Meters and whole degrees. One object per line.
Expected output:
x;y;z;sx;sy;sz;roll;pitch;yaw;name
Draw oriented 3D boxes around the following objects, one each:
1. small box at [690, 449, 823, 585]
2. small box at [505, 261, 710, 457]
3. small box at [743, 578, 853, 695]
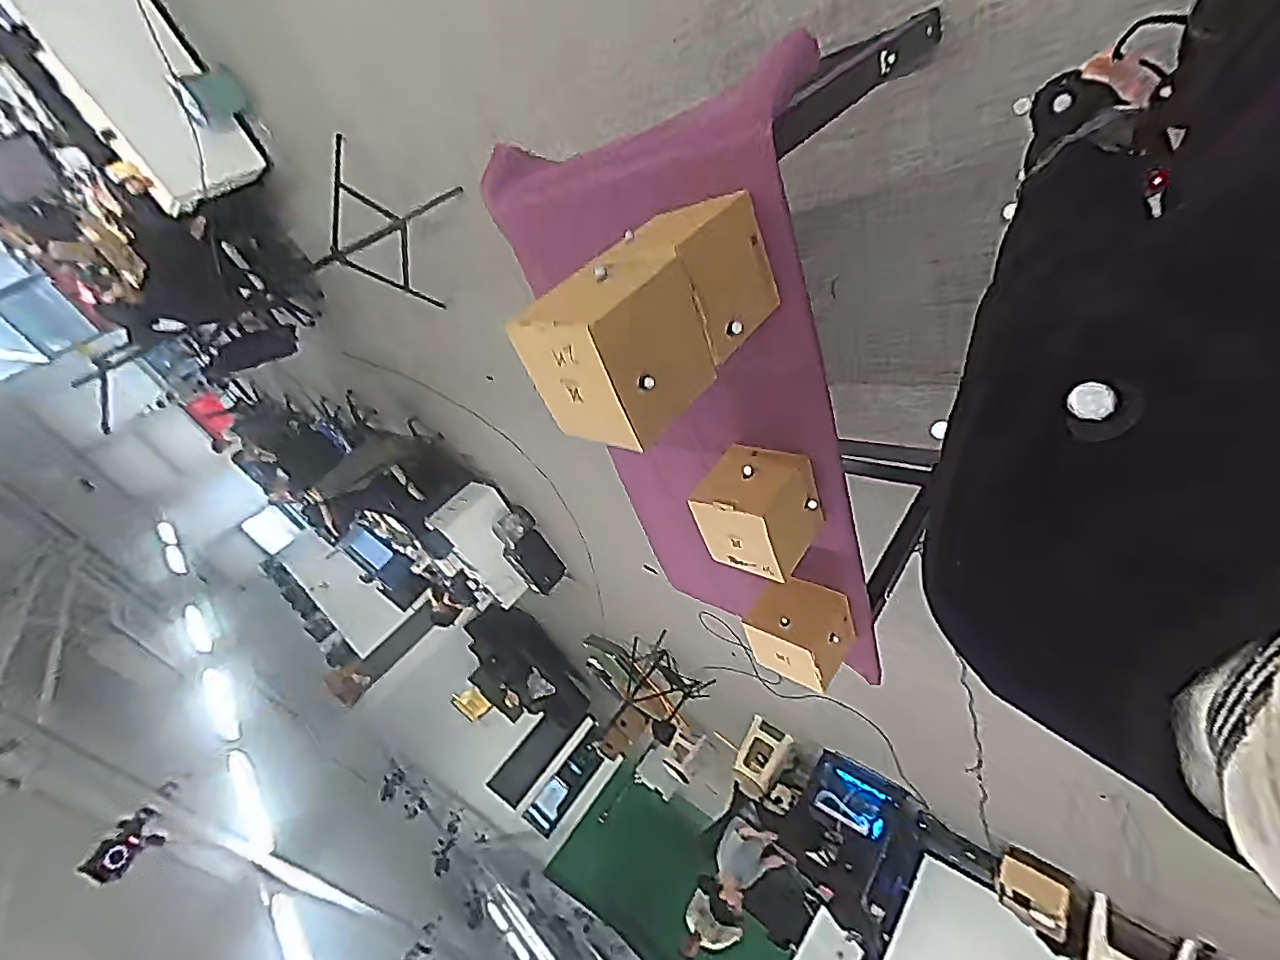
0.226;0.062;1.026;0.168;0.176;0.179;13;140;43;small box
-0.032;-0.159;0.701;0.168;0.176;0.179;16;142;42;small box
0.369;0.348;1.236;0.179;0.176;0.168;15;139;44;small box
